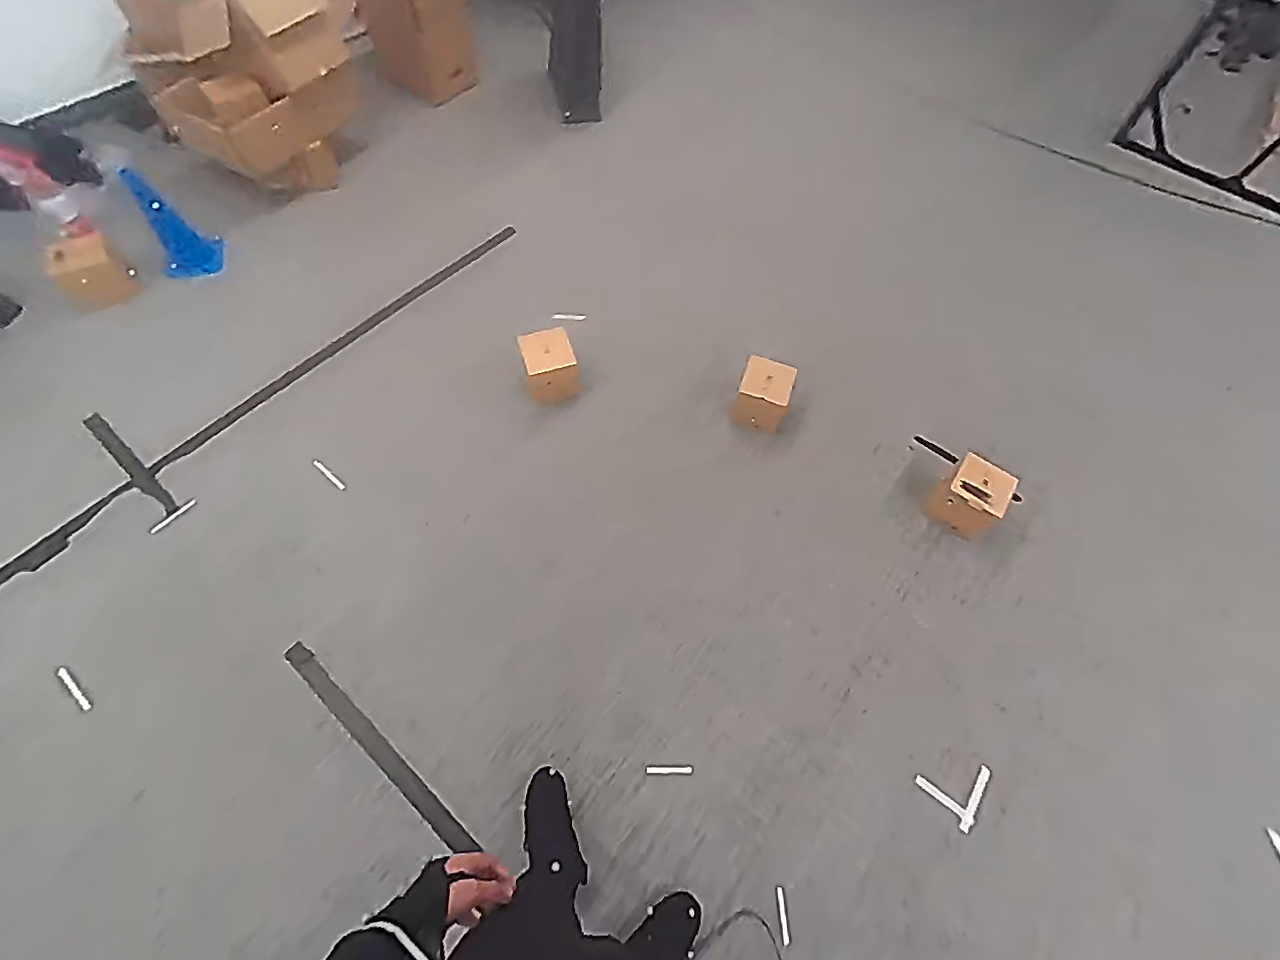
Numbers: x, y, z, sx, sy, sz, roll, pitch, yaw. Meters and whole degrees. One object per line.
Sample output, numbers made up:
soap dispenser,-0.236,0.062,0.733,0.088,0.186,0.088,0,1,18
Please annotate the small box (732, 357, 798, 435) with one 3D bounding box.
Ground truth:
small box,0.428,-0.289,1.873,0.168,0.176,0.179,20,63,7

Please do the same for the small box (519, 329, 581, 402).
small box,-0.309,-0.390,1.878,0.168,0.176,0.179,-16,64,-11
